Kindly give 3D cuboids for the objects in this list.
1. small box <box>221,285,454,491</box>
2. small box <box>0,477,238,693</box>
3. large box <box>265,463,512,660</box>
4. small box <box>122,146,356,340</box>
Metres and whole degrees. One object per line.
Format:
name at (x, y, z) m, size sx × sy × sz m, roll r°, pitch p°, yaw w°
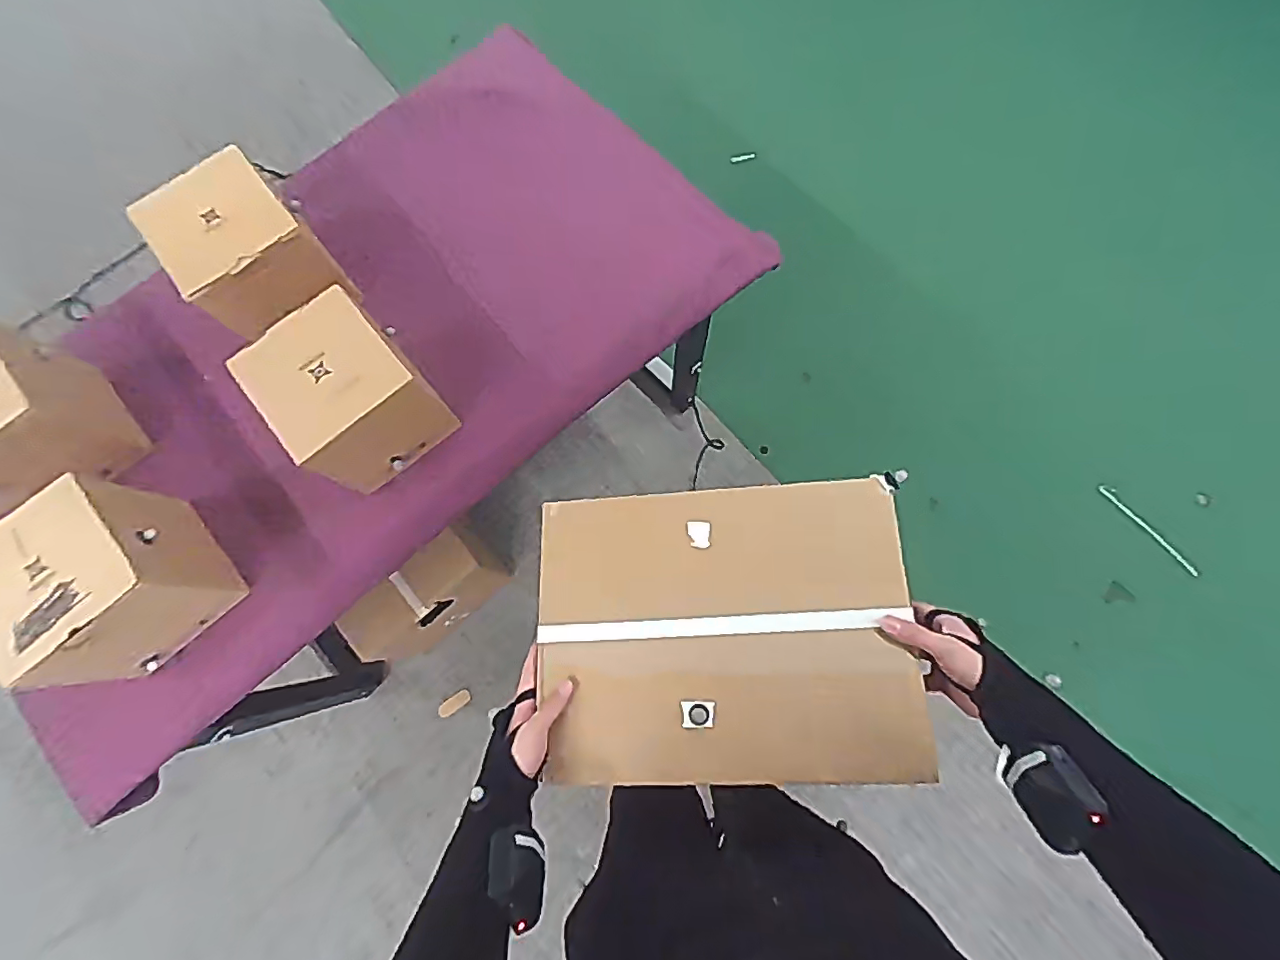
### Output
small box at (-0.383, -0.109, 0.715) m, size 0.168 × 0.176 × 0.179 m, roll -40°, pitch 78°, yaw -7°
small box at (-0.653, 0.127, 0.661) m, size 0.168 × 0.176 × 0.179 m, roll -42°, pitch 77°, yaw -9°
large box at (-0.588, 0.178, 1.331) m, size 0.320 × 0.320 × 0.408 m, roll -41°, pitch 78°, yaw -9°
small box at (-0.555, -0.316, 0.773) m, size 0.168 × 0.176 × 0.179 m, roll -39°, pitch 79°, yaw -8°
